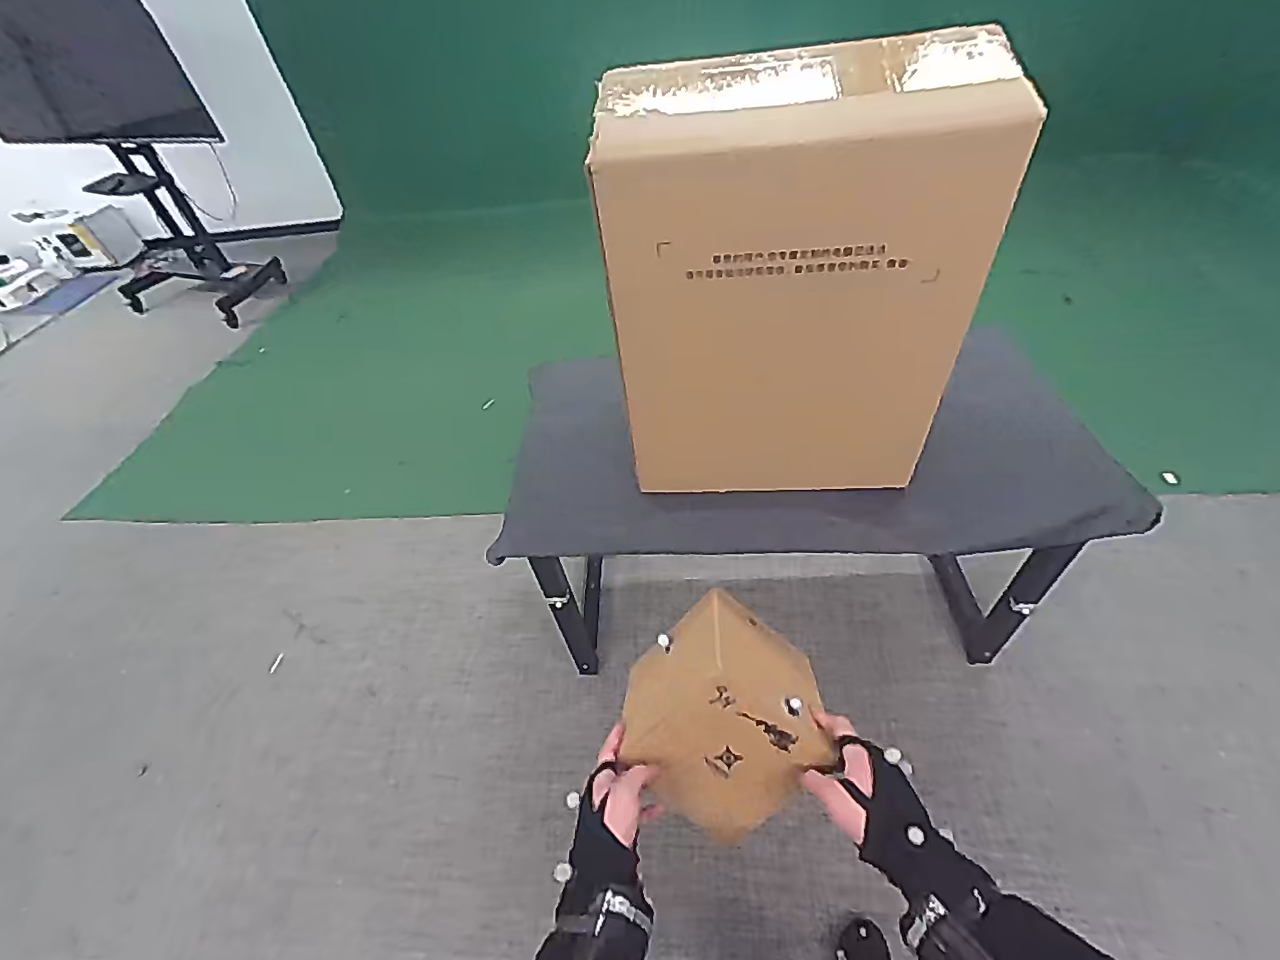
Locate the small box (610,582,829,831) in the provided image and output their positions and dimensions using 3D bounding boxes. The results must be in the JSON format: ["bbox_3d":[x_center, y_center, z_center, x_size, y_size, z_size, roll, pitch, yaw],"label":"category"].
[{"bbox_3d":[0.092,0.259,0.646,0.168,0.179,0.176,40,19,-7],"label":"small box"}]
